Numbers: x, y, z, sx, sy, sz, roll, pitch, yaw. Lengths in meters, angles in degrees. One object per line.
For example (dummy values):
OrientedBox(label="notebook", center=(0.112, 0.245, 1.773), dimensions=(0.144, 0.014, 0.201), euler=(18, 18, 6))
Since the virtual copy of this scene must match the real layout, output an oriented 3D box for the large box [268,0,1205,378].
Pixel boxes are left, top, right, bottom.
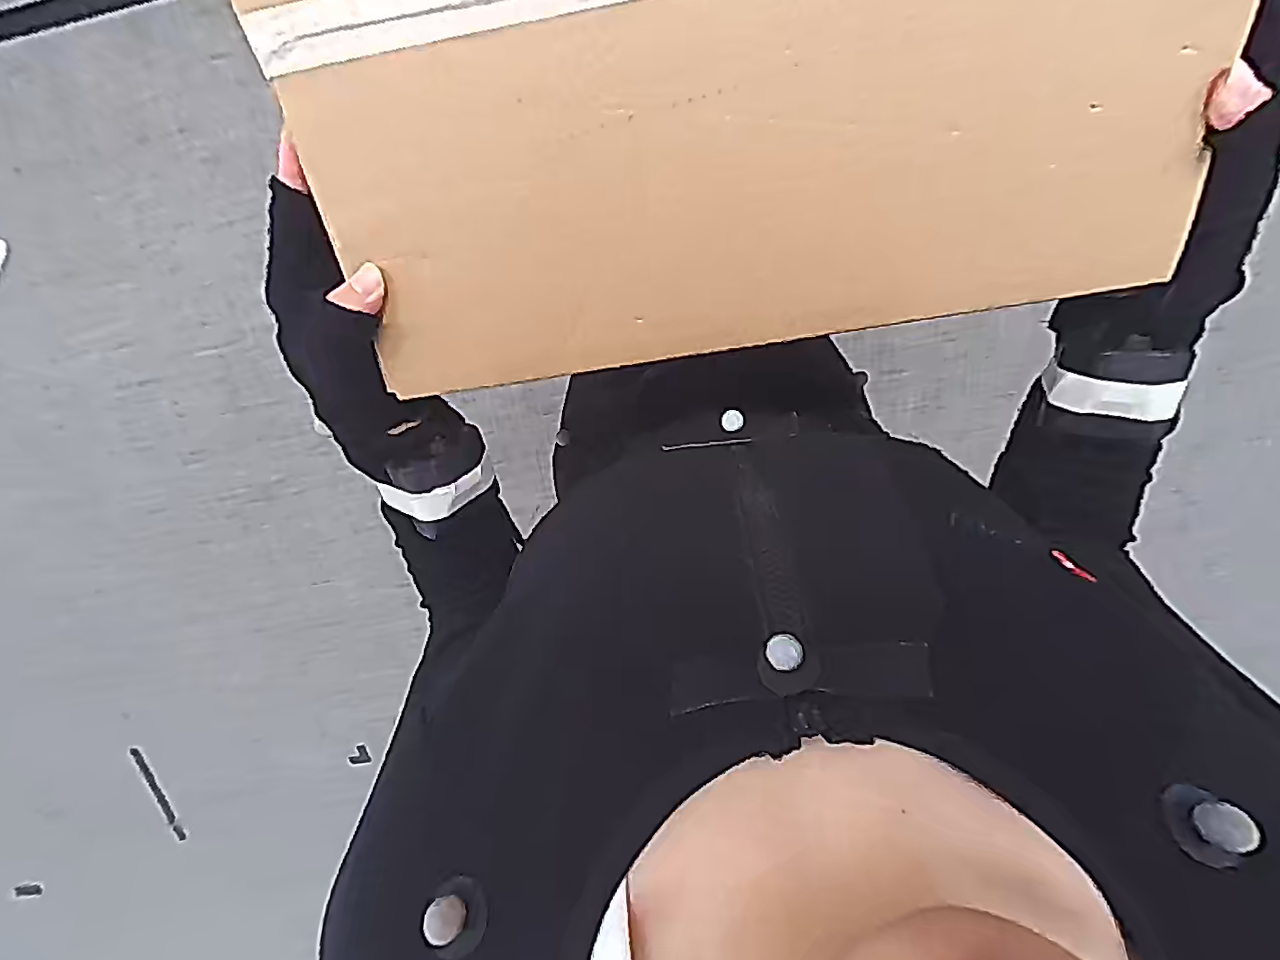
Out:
OrientedBox(label="large box", center=(0.035, -0.289, 0.356), dimensions=(0.408, 0.320, 0.320), euler=(-8, 118, 4))
